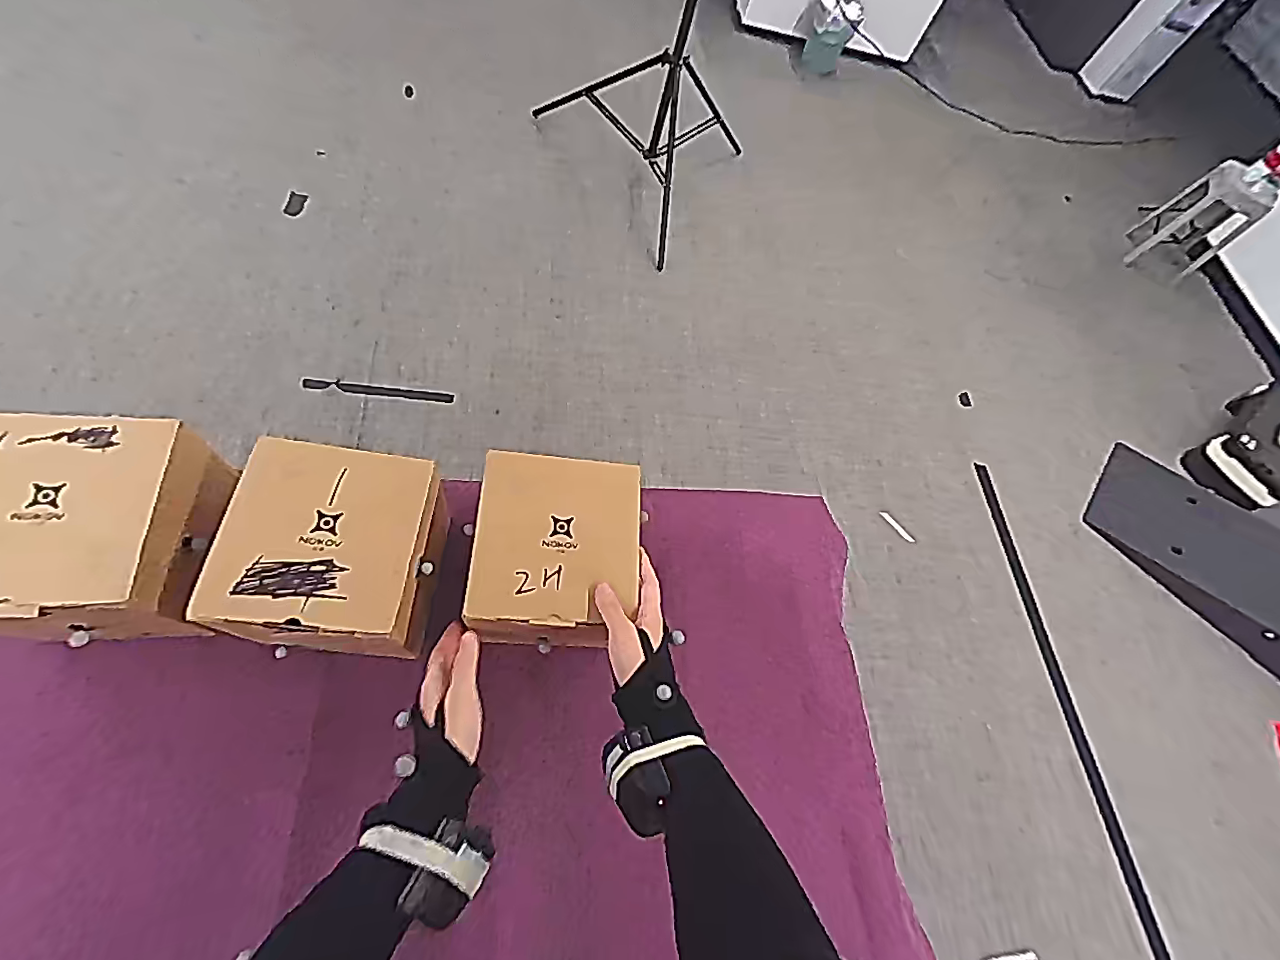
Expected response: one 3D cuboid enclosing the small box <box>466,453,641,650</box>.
[{"bbox_3d":[-0.097,0.091,0.618,0.168,0.176,0.179,6,66,-10],"label":"small box"}]
